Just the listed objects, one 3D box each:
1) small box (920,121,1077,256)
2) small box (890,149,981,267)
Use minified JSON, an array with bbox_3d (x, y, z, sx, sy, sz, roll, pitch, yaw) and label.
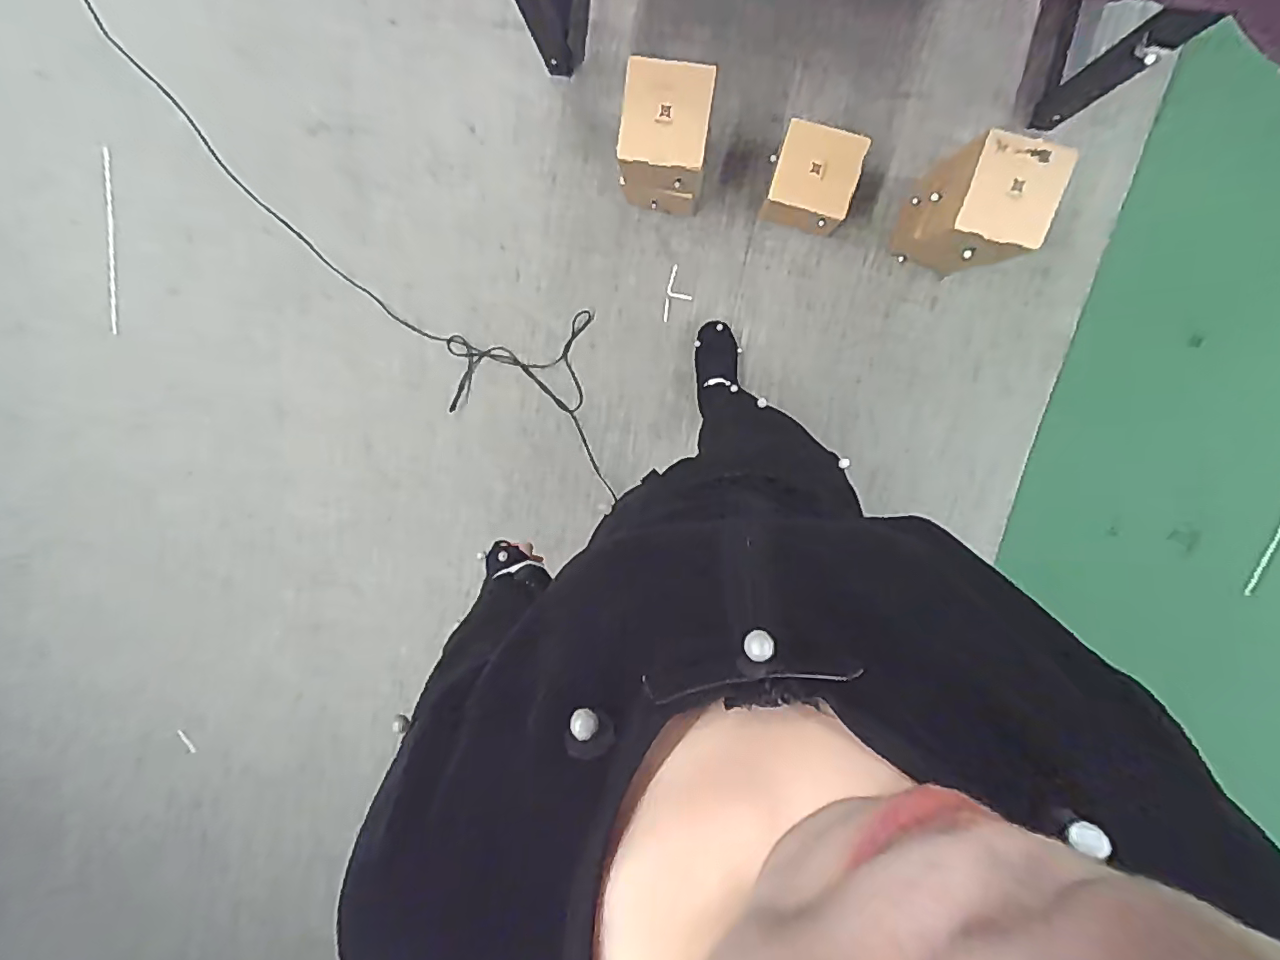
[{"bbox_3d":[0.681,-0.555,1.057,0.168,0.176,0.179,16,105,-1],"label":"small box"},{"bbox_3d":[0.693,-0.599,1.217,0.168,0.176,0.179,20,103,0],"label":"small box"}]
